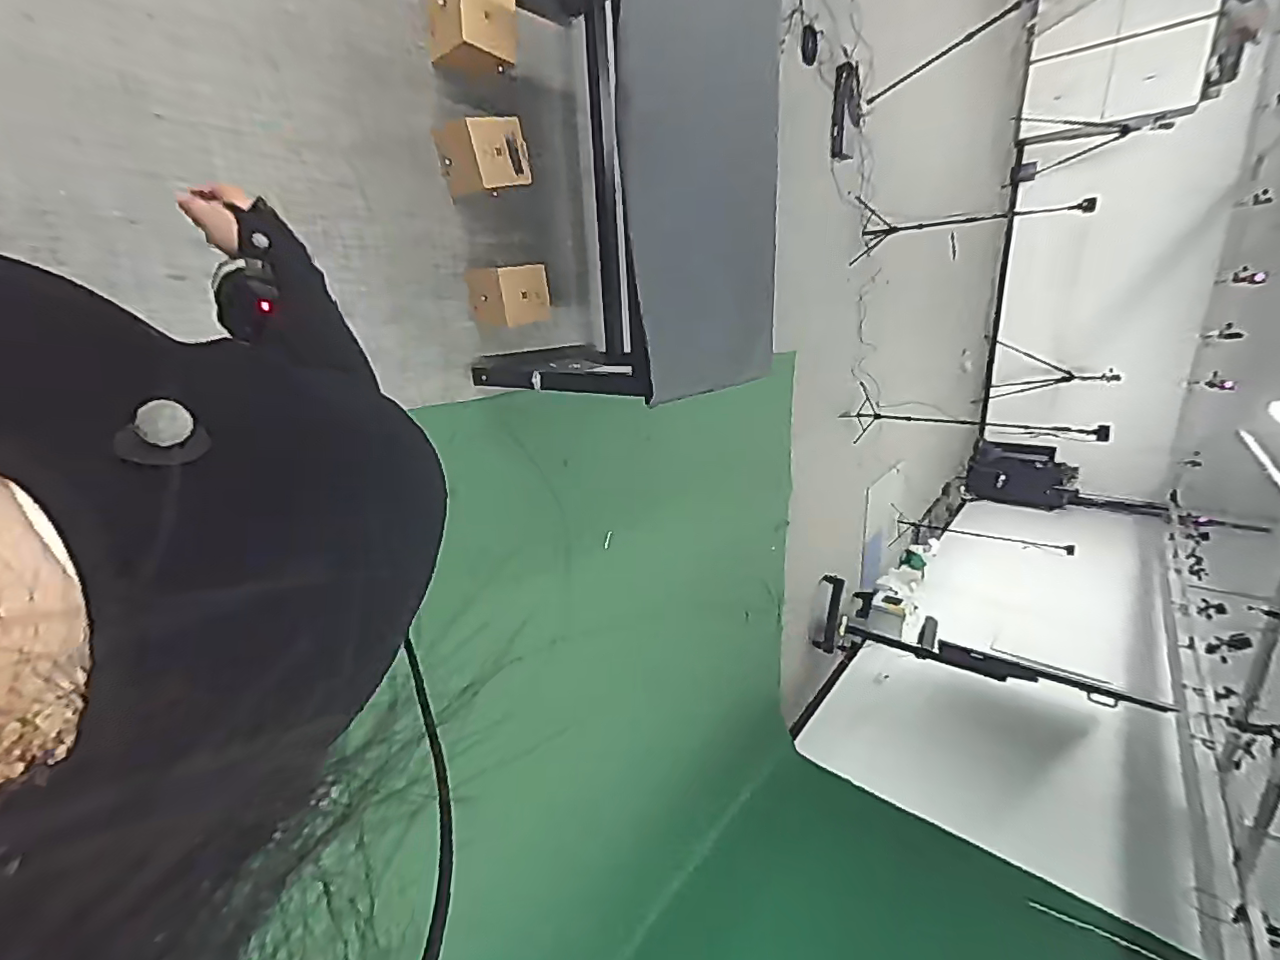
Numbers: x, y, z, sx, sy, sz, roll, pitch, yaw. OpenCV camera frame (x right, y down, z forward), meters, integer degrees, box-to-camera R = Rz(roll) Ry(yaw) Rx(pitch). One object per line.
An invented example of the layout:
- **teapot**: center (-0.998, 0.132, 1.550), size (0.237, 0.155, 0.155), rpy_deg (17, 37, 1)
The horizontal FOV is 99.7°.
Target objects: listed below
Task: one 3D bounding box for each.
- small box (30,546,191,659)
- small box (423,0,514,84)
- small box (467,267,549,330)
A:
- **small box**: center (-1.048, 0.239, 1.070), size (0.179, 0.176, 0.168), rpy_deg (31, 76, -50)
- **small box**: center (-0.463, -1.201, 1.449), size (0.179, 0.176, 0.168), rpy_deg (-17, 111, -48)
- **small box**: center (-0.411, -0.557, 1.660), size (0.179, 0.176, 0.168), rpy_deg (-28, 120, -44)
